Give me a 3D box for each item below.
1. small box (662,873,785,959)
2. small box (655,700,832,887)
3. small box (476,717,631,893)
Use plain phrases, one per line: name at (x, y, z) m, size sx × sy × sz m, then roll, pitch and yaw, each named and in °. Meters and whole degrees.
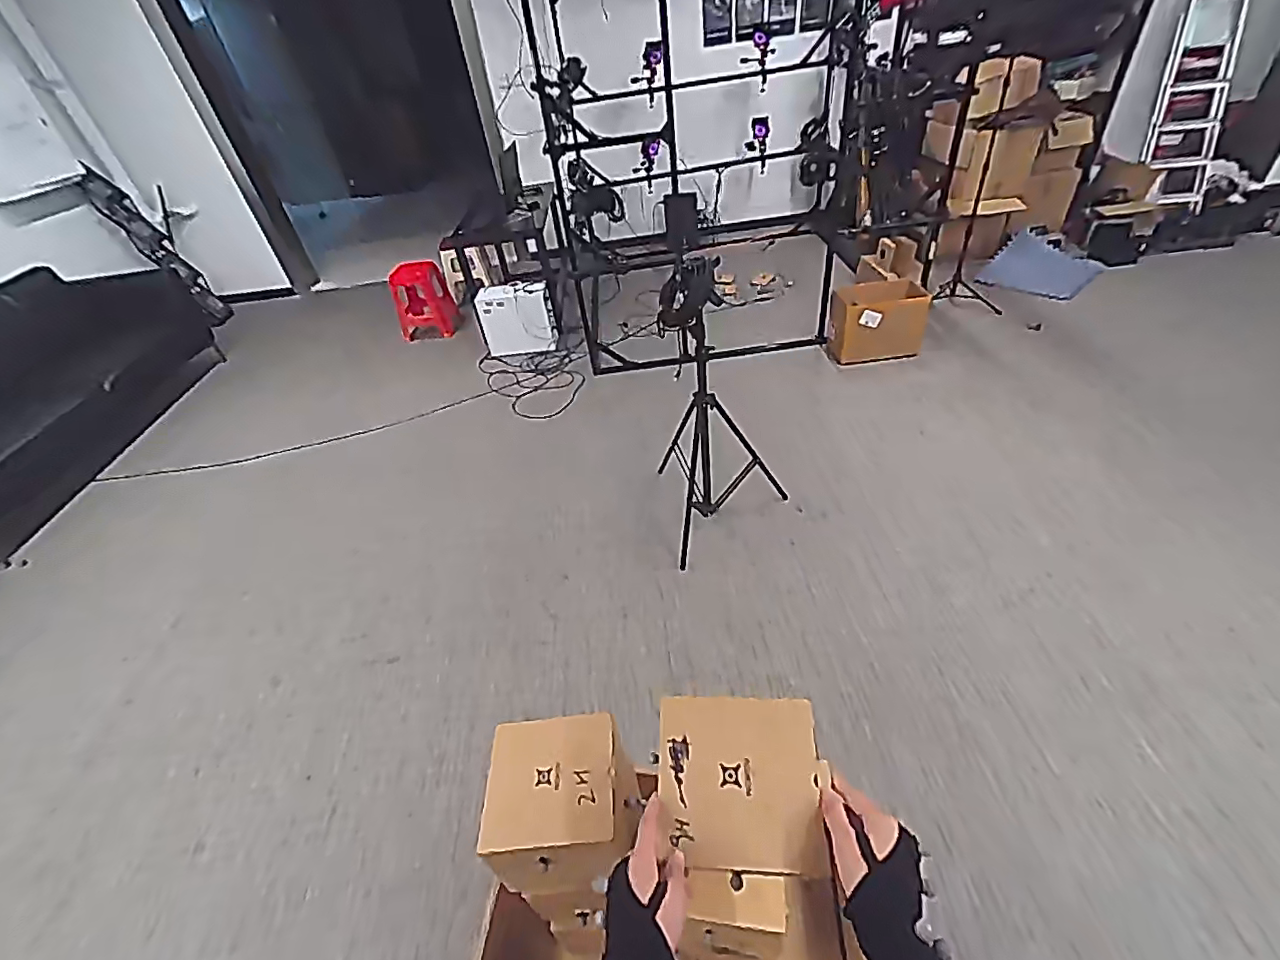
small box at (0.135, 0.598, 0.828) m, size 0.168 × 0.176 × 0.179 m, roll -1°, pitch 39°, yaw 13°
small box at (0.112, 0.372, 0.642) m, size 0.179 × 0.176 × 0.168 m, roll 0°, pitch 54°, yaw 6°
small box at (-0.111, 0.466, 0.774) m, size 0.179 × 0.176 × 0.168 m, roll -7°, pitch 40°, yaw 2°
